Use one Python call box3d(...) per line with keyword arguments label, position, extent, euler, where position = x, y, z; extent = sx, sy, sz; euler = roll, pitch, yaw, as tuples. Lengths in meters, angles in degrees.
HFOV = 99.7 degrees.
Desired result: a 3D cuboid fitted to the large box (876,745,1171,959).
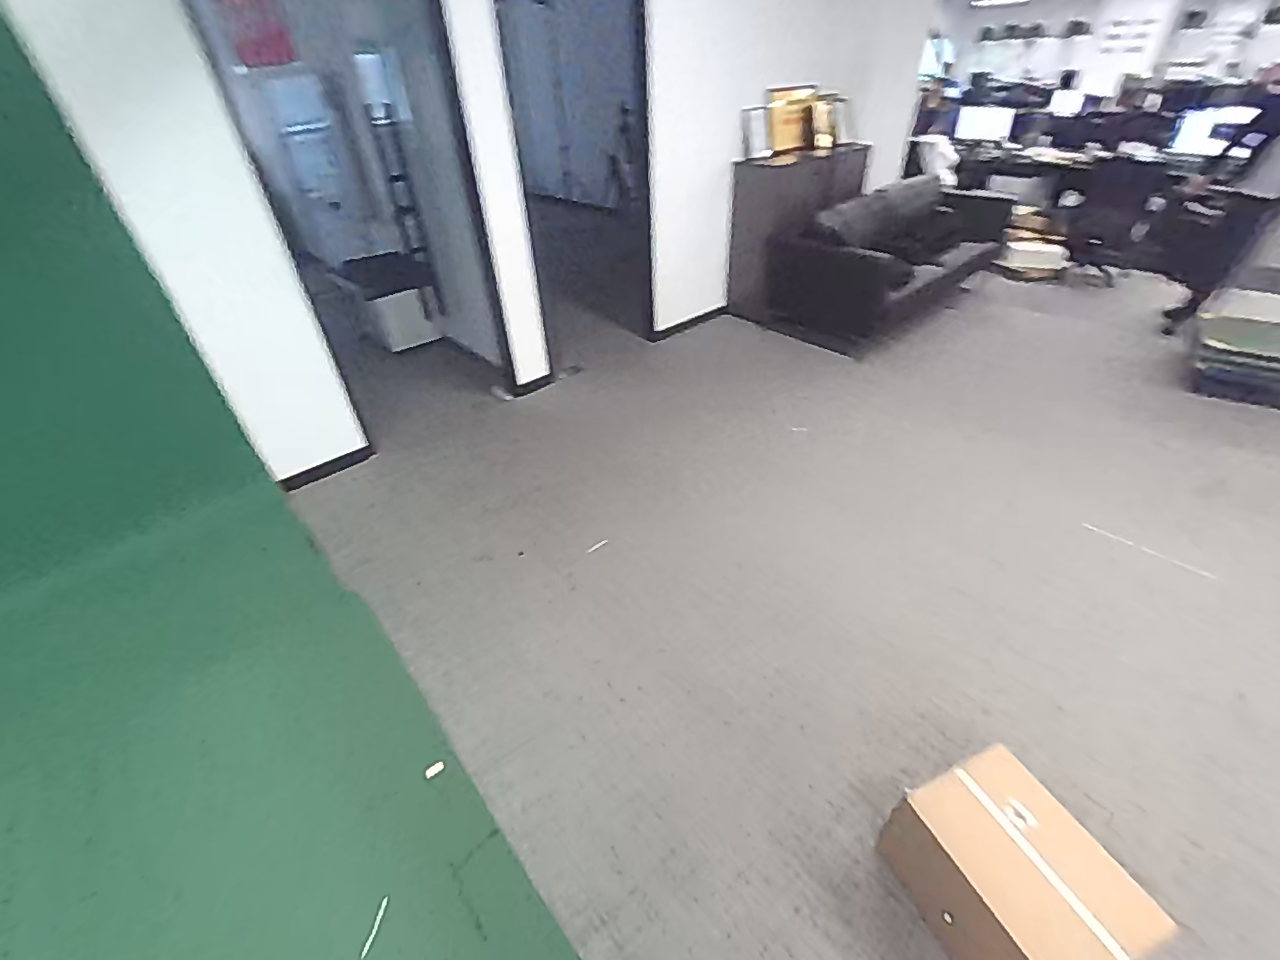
box3d(label="large box", position=(0.827, 0.923, 1.240), extent=(0.320, 0.320, 0.408), euler=(-16, 38, -17))
